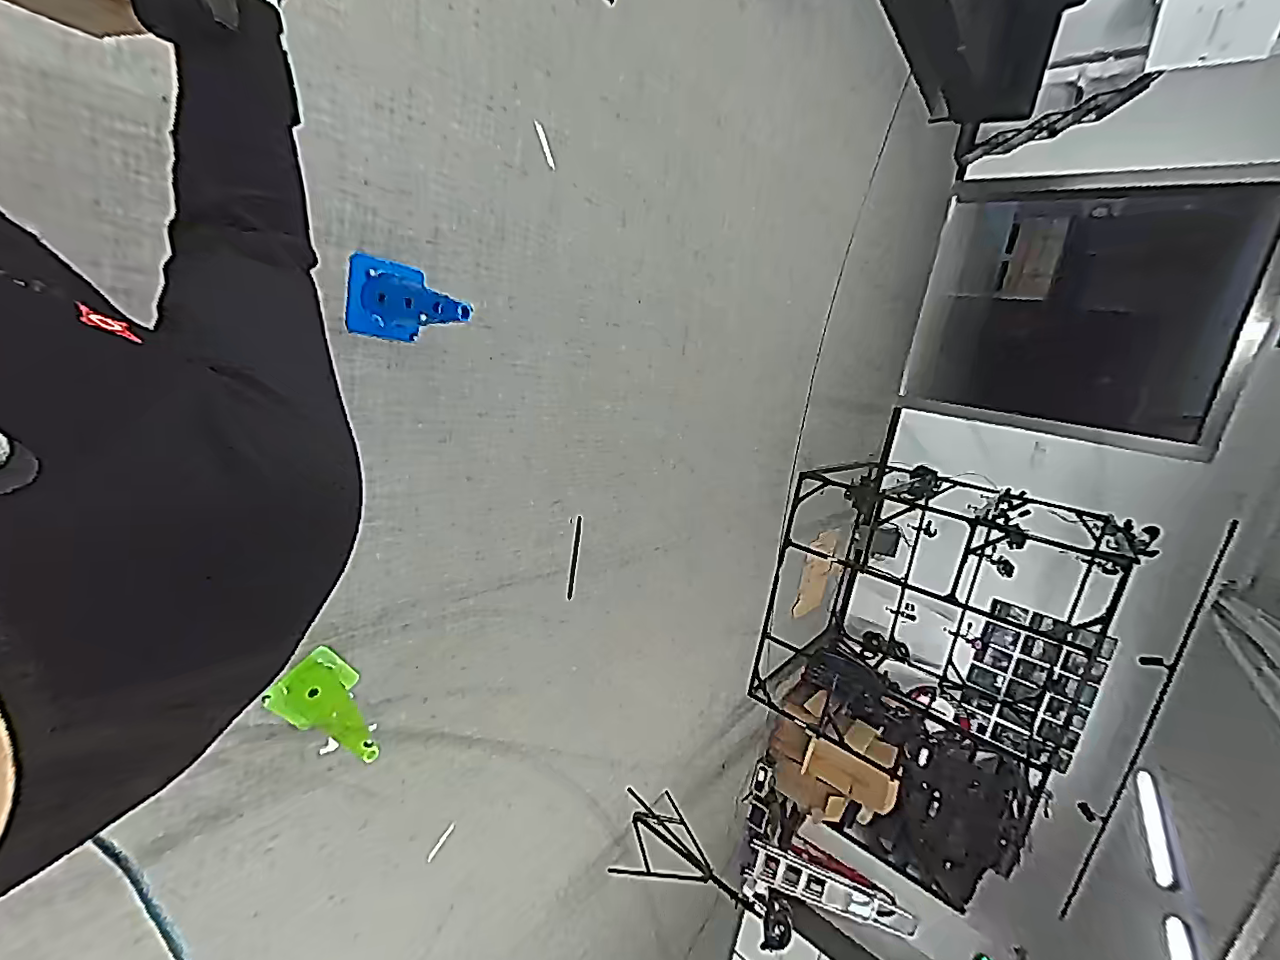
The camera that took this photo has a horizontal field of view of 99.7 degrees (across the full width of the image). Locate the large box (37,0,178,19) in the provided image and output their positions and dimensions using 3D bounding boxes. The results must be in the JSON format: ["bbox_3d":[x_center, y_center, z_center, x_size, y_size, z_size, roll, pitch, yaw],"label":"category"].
[{"bbox_3d":[-0.511,-0.514,0.255,0.408,0.320,0.320,-7,121,-53],"label":"large box"}]

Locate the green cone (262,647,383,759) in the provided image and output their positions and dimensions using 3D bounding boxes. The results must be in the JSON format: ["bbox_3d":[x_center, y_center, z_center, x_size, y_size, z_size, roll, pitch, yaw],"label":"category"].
[{"bbox_3d":[-0.814,0.650,1.471,0.202,0.368,0.200,-49,140,-30],"label":"green cone"}]

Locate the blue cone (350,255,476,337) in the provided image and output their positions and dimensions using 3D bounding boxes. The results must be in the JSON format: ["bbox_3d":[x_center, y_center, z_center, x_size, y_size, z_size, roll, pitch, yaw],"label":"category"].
[{"bbox_3d":[-0.548,-0.444,1.354,0.192,0.380,0.193,-2,108,-54],"label":"blue cone"}]
